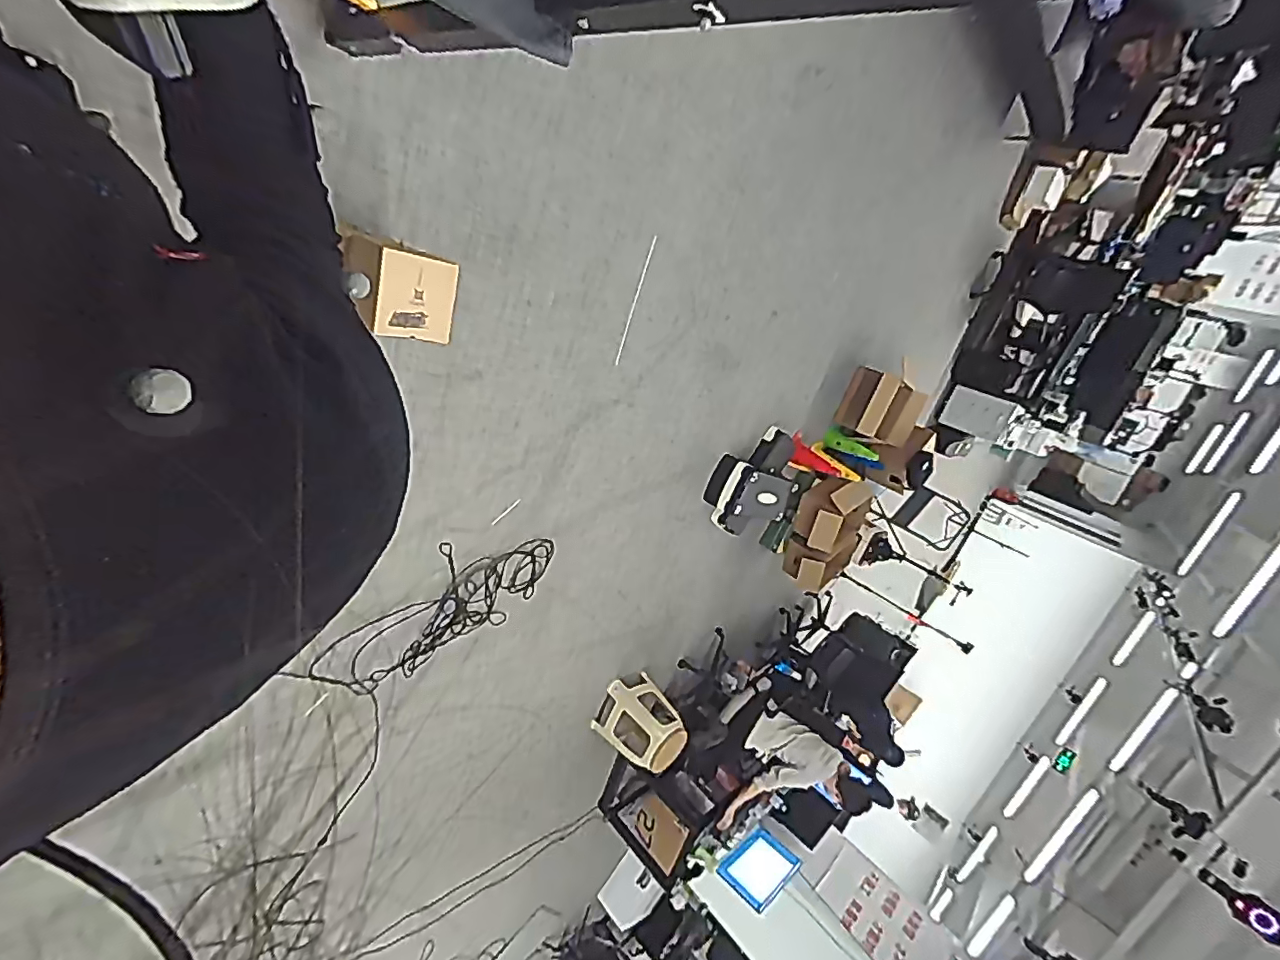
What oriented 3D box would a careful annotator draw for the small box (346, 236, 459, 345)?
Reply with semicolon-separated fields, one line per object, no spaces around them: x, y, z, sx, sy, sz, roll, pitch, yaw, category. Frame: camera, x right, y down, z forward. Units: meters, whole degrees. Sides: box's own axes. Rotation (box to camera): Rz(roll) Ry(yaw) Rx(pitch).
-0.525;-0.413;1.183;0.168;0.176;0.179;-4;118;-47;small box
